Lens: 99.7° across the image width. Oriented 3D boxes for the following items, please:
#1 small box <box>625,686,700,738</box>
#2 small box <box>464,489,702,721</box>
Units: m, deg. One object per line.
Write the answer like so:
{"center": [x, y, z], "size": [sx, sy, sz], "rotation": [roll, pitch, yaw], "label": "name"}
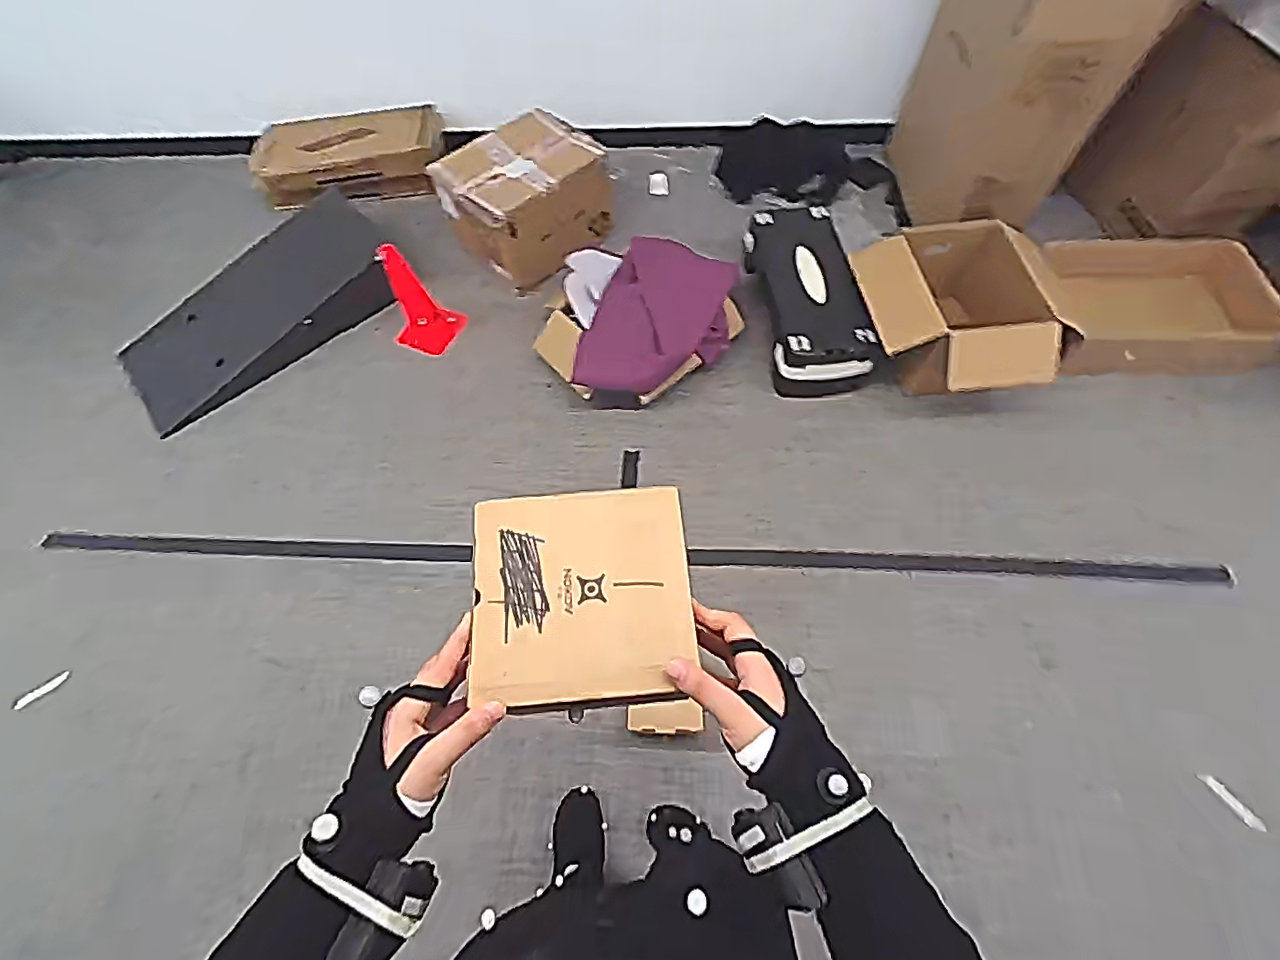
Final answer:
{"center": [0.056, 0.505, 1.264], "size": [0.168, 0.176, 0.179], "rotation": [0, 63, 3], "label": "small box"}
{"center": [-0.047, 0.123, 0.495], "size": [0.179, 0.176, 0.168], "rotation": [-5, 65, -3], "label": "small box"}
